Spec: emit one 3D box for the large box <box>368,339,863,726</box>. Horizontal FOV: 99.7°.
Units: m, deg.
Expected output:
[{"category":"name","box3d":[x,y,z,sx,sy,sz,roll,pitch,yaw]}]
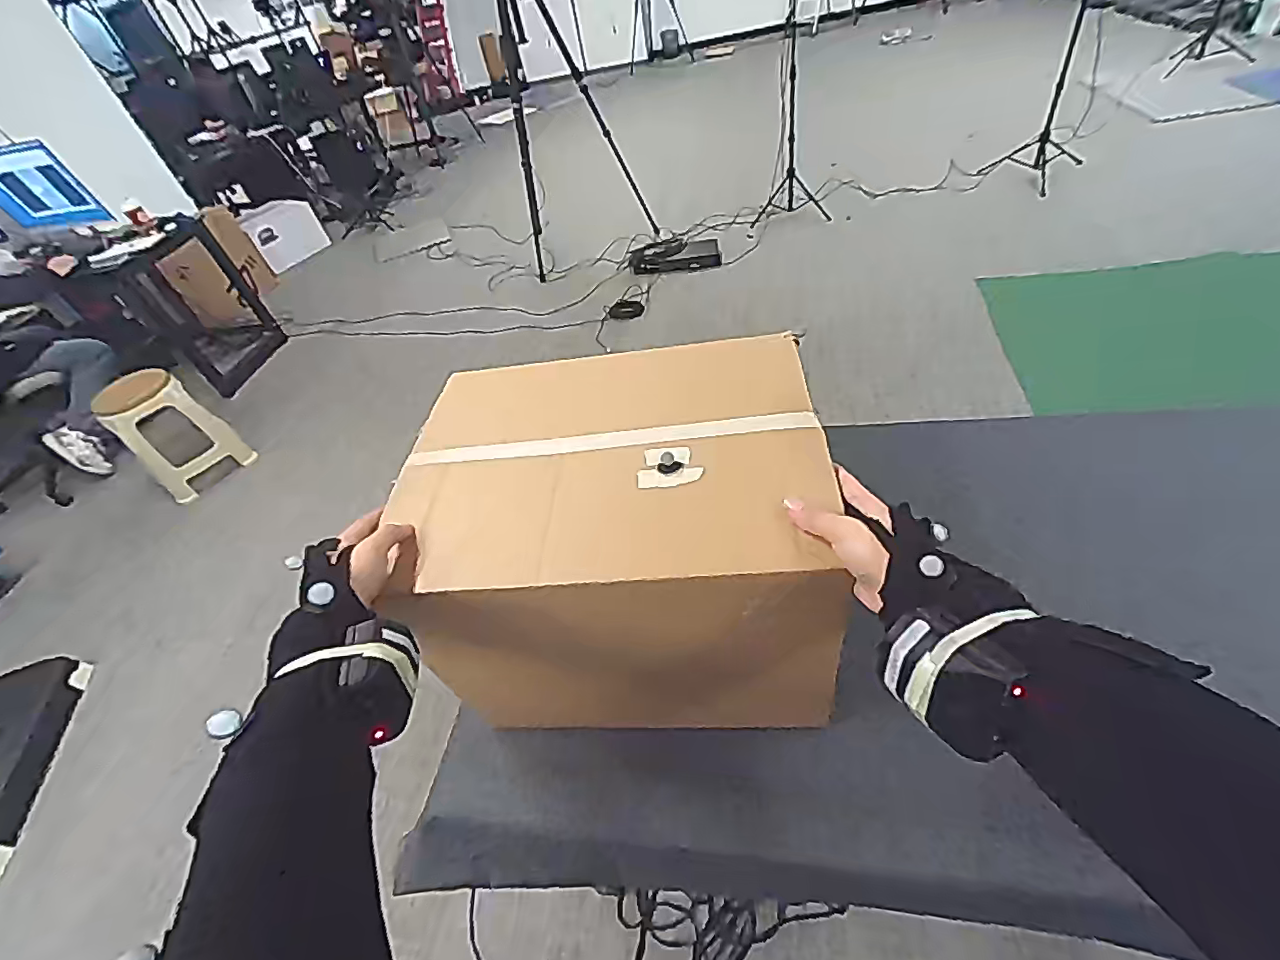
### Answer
[{"category":"large box","box3d":[-0.005,0.070,0.627,0.408,0.320,0.320,-4,46,8]}]
